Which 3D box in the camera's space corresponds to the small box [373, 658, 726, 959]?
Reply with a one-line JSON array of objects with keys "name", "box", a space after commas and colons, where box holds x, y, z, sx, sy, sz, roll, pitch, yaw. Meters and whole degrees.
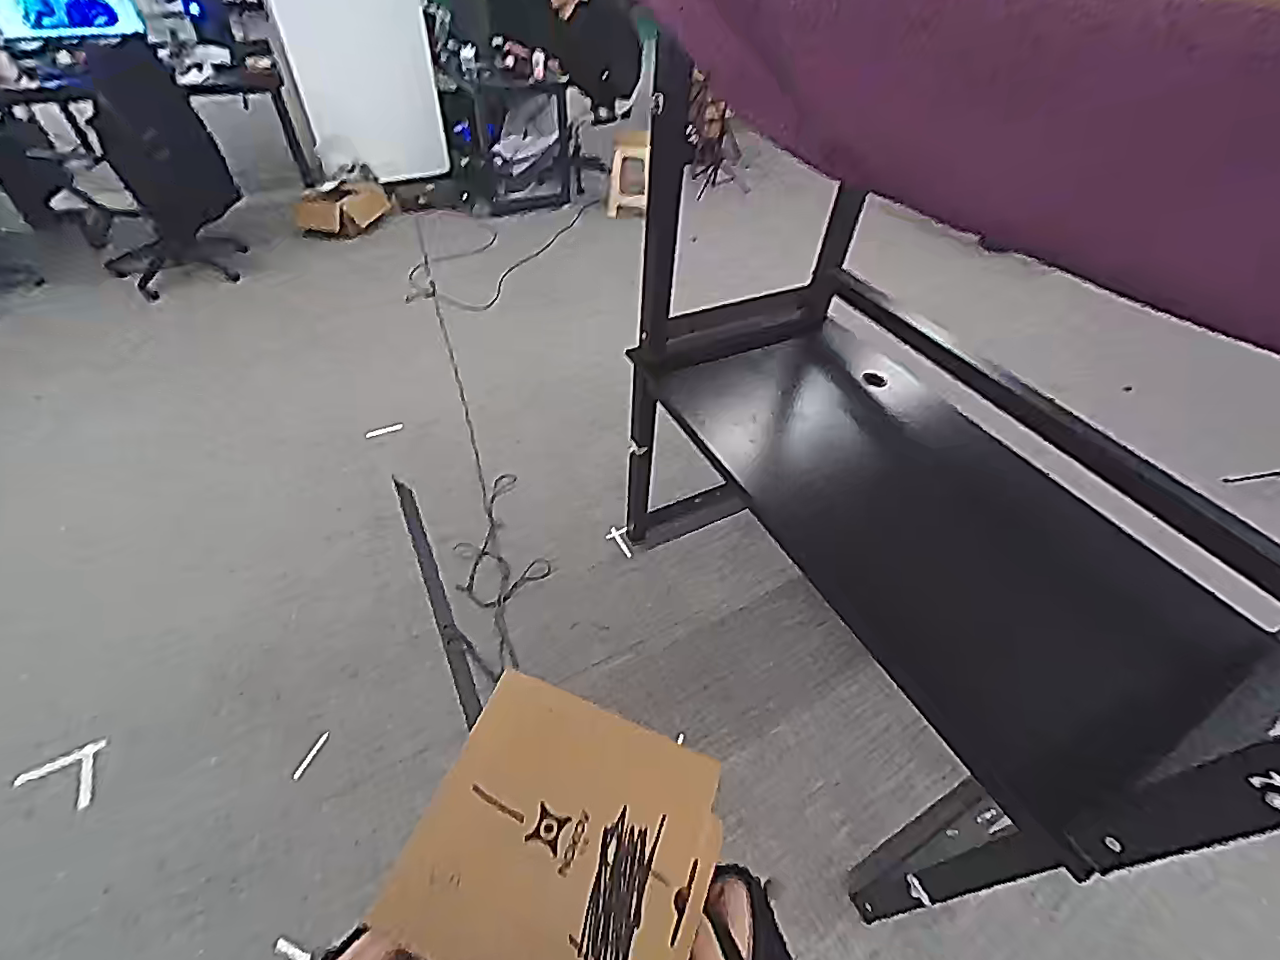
[{"name": "small box", "box": [-0.059, 0.269, 0.414, 0.179, 0.176, 0.168, 23, 53, 7]}]
